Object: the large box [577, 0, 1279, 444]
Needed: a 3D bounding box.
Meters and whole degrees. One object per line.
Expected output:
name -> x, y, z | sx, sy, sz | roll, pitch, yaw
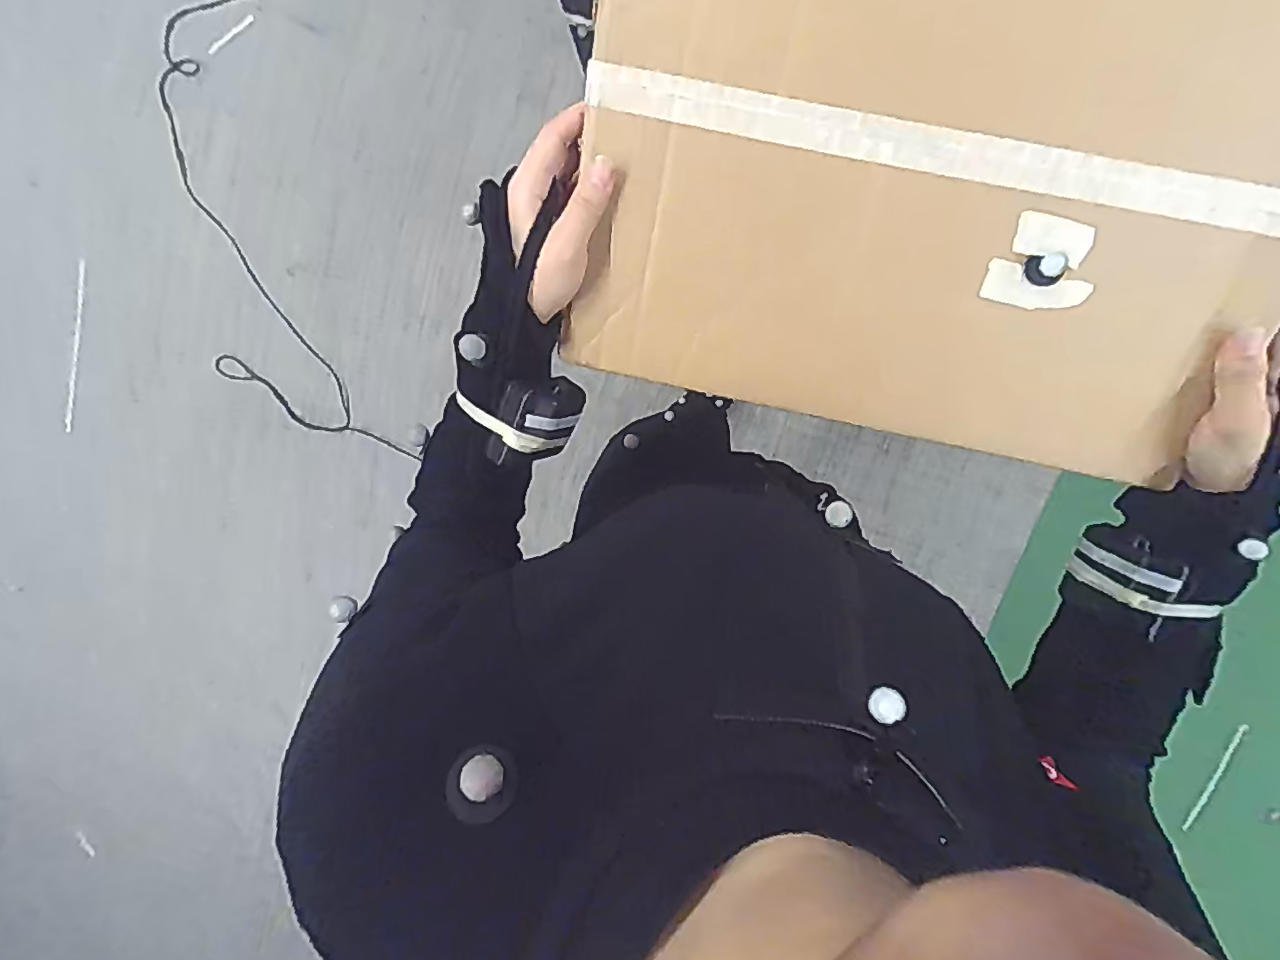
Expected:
large box -> 0.187, -0.253, 0.435 | 0.408, 0.320, 0.320 | 11, 114, 1
